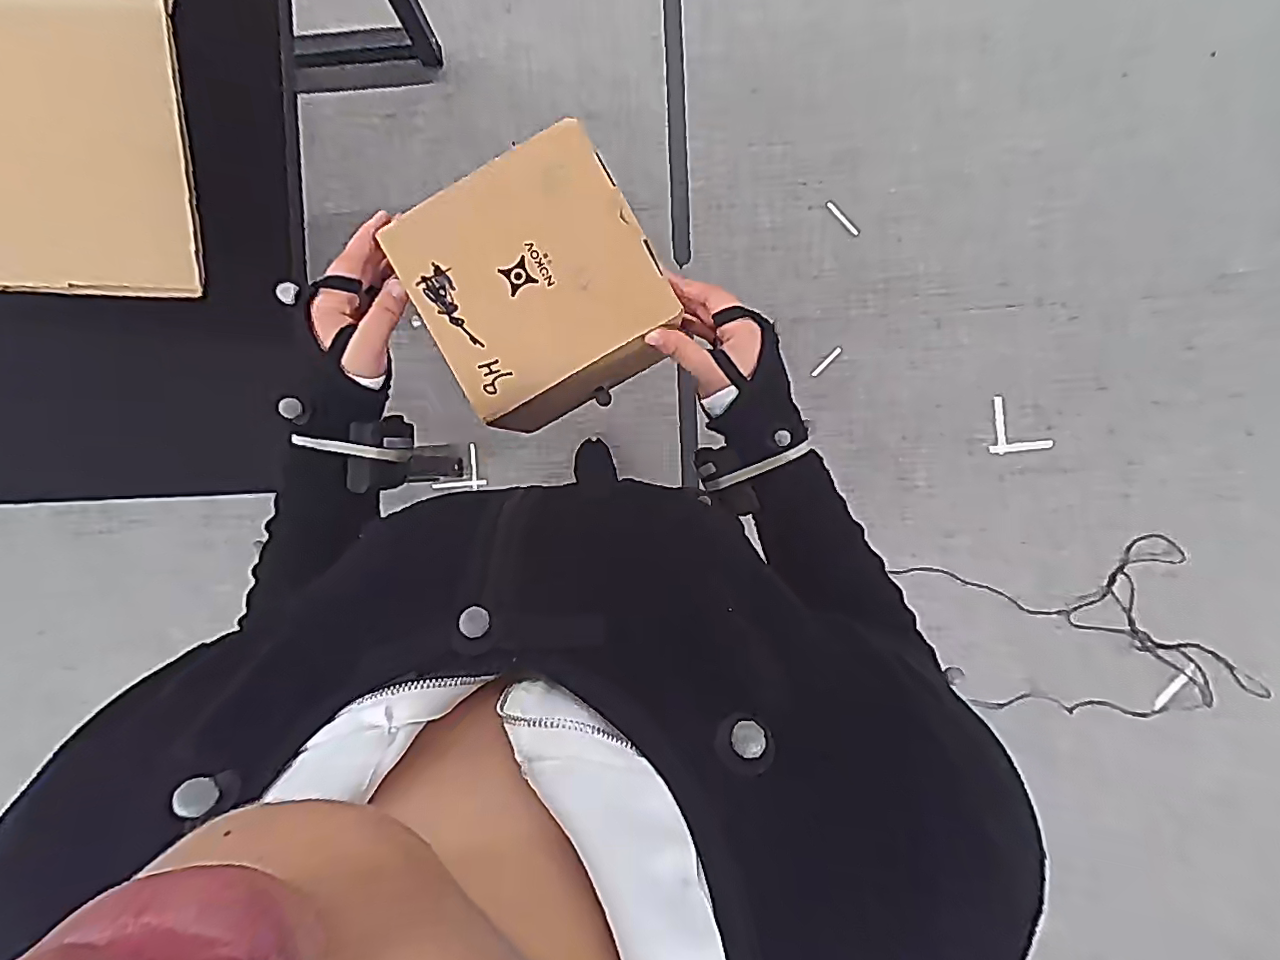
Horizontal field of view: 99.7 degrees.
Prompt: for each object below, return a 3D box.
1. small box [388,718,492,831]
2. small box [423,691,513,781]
[{"bbox_3d":[-0.459,0.681,1.271,0.179,0.176,0.168,-10,90,1],"label":"small box"},{"bbox_3d":[-0.451,0.679,1.434,0.179,0.176,0.168,-7,91,0],"label":"small box"}]
